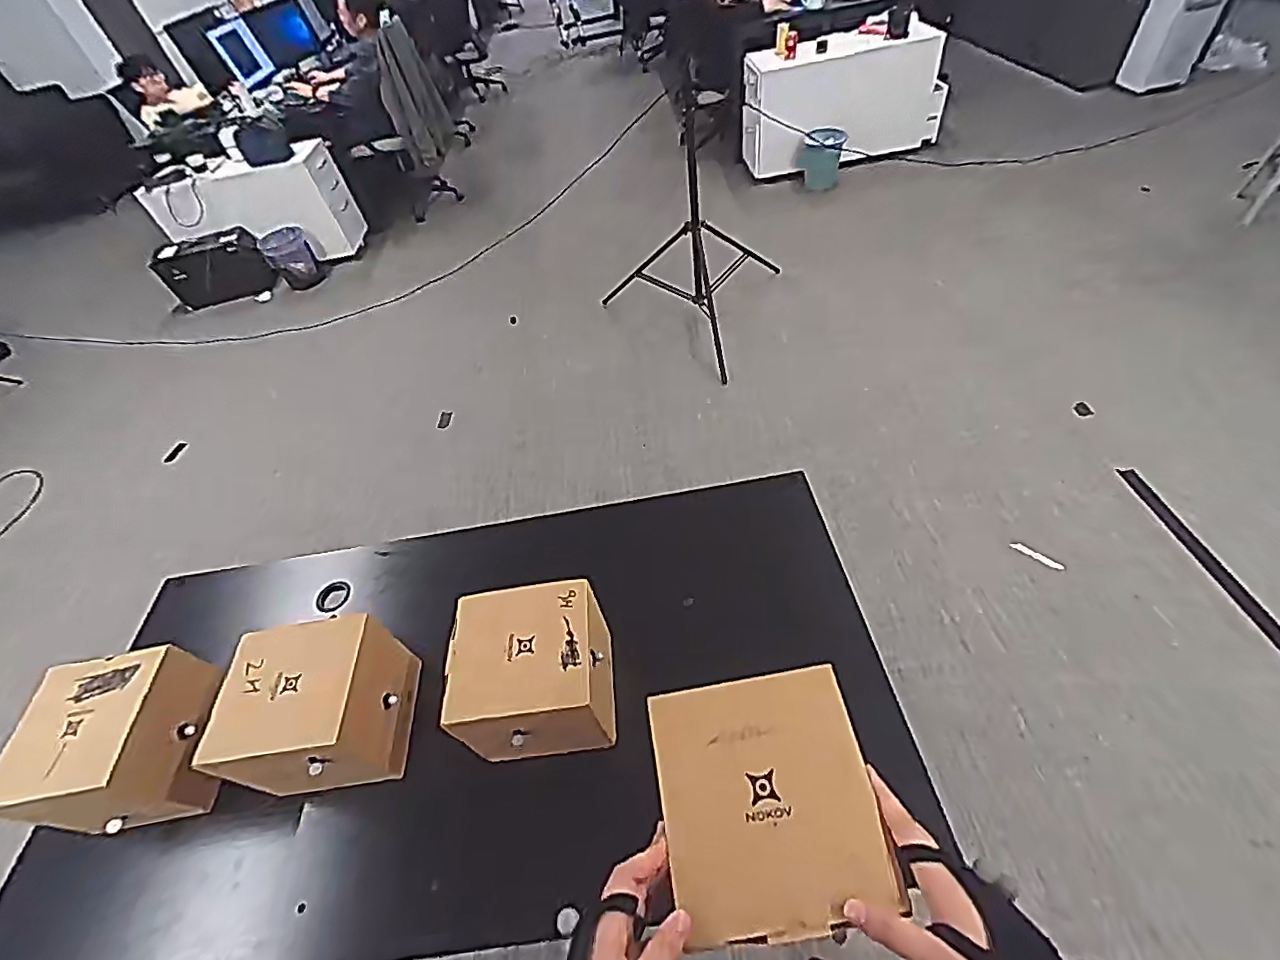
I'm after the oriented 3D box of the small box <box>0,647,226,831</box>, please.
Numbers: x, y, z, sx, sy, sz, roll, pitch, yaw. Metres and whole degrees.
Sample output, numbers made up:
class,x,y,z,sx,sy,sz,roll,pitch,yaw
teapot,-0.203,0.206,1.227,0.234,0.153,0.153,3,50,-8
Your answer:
class,x,y,z,sx,sy,sz,roll,pitch,yaw
small box,-0.692,0.357,0.741,0.168,0.176,0.179,-11,50,1

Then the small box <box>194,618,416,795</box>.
class,x,y,z,sx,sy,sz,roll,pitch,yaw
small box,-0.429,0.309,0.733,0.179,0.176,0.168,-10,49,1

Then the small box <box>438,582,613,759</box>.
class,x,y,z,sx,sy,sz,roll,pitch,yaw
small box,-0.140,0.259,0.725,0.179,0.176,0.168,-9,49,3
